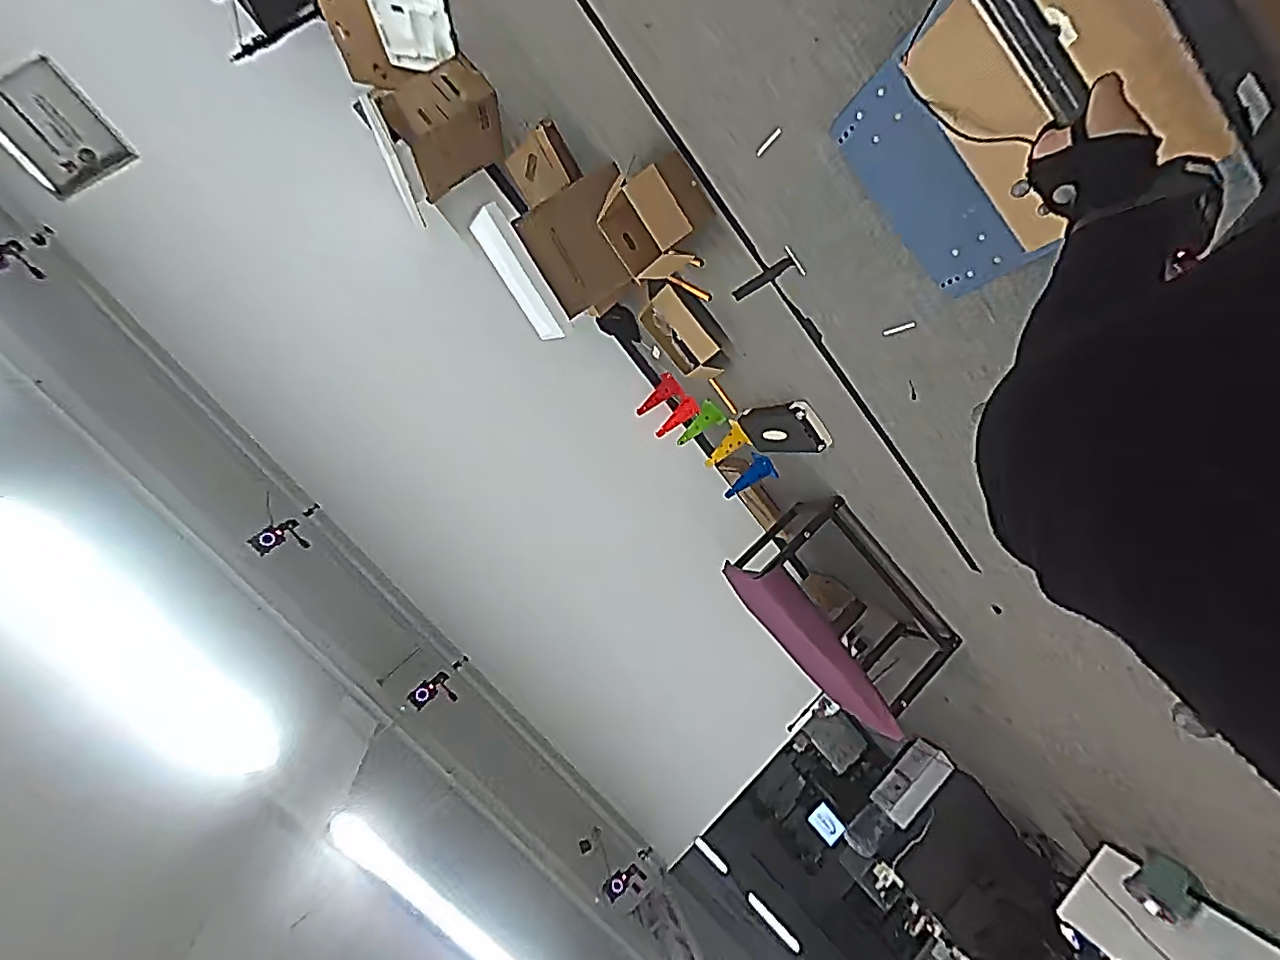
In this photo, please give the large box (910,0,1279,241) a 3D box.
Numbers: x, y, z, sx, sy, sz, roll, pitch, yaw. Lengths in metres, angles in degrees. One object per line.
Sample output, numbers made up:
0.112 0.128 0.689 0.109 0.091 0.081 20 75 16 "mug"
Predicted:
0.725 -0.670 0.816 0.408 0.320 0.320 51 168 -6 "large box"
